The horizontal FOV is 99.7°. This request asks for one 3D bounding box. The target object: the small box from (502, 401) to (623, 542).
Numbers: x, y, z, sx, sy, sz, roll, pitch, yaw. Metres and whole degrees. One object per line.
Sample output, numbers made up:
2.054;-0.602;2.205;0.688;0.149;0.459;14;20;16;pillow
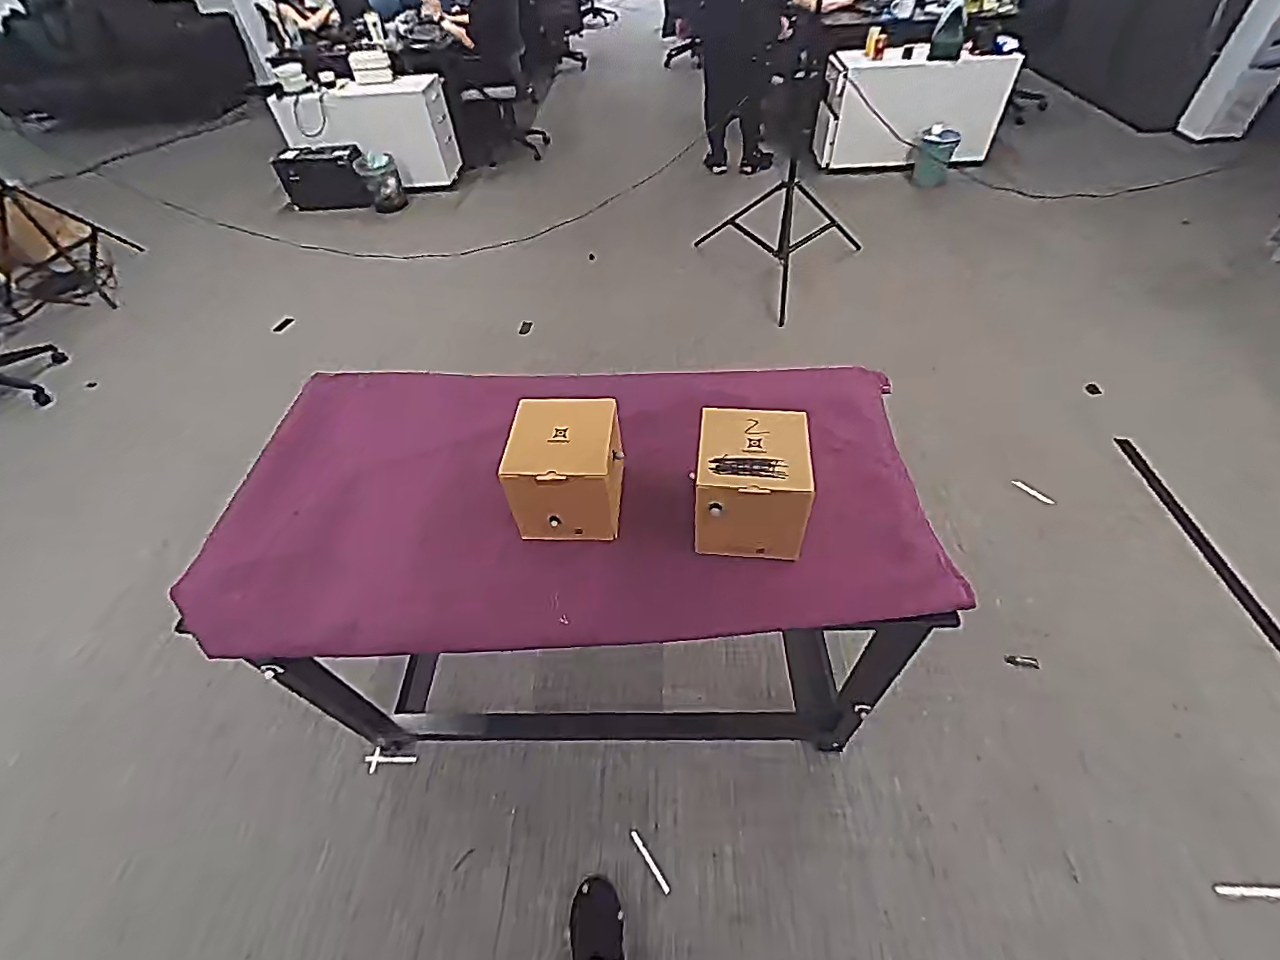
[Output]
-0.119;-0.015;0.920;0.168;0.176;0.179;0;49;4;small box
